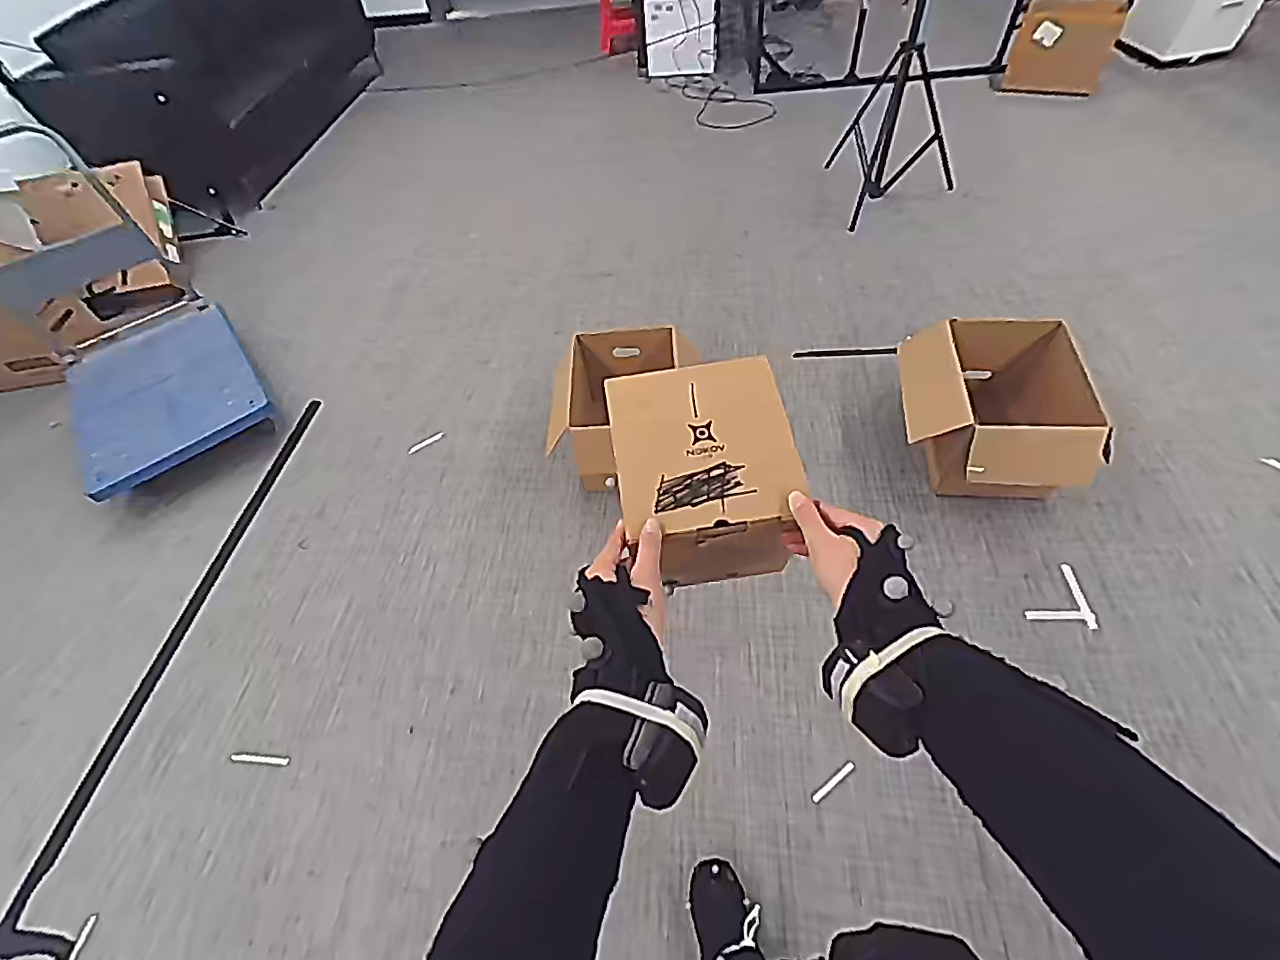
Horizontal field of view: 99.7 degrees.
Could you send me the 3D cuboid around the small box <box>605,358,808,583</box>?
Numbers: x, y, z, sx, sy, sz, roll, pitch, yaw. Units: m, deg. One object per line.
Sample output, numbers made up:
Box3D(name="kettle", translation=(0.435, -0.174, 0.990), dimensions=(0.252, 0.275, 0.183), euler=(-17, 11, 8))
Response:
Box3D(name="small box", translation=(0.061, 0.001, 0.574), dimensions=(0.168, 0.176, 0.179), euler=(-9, 62, -1))
